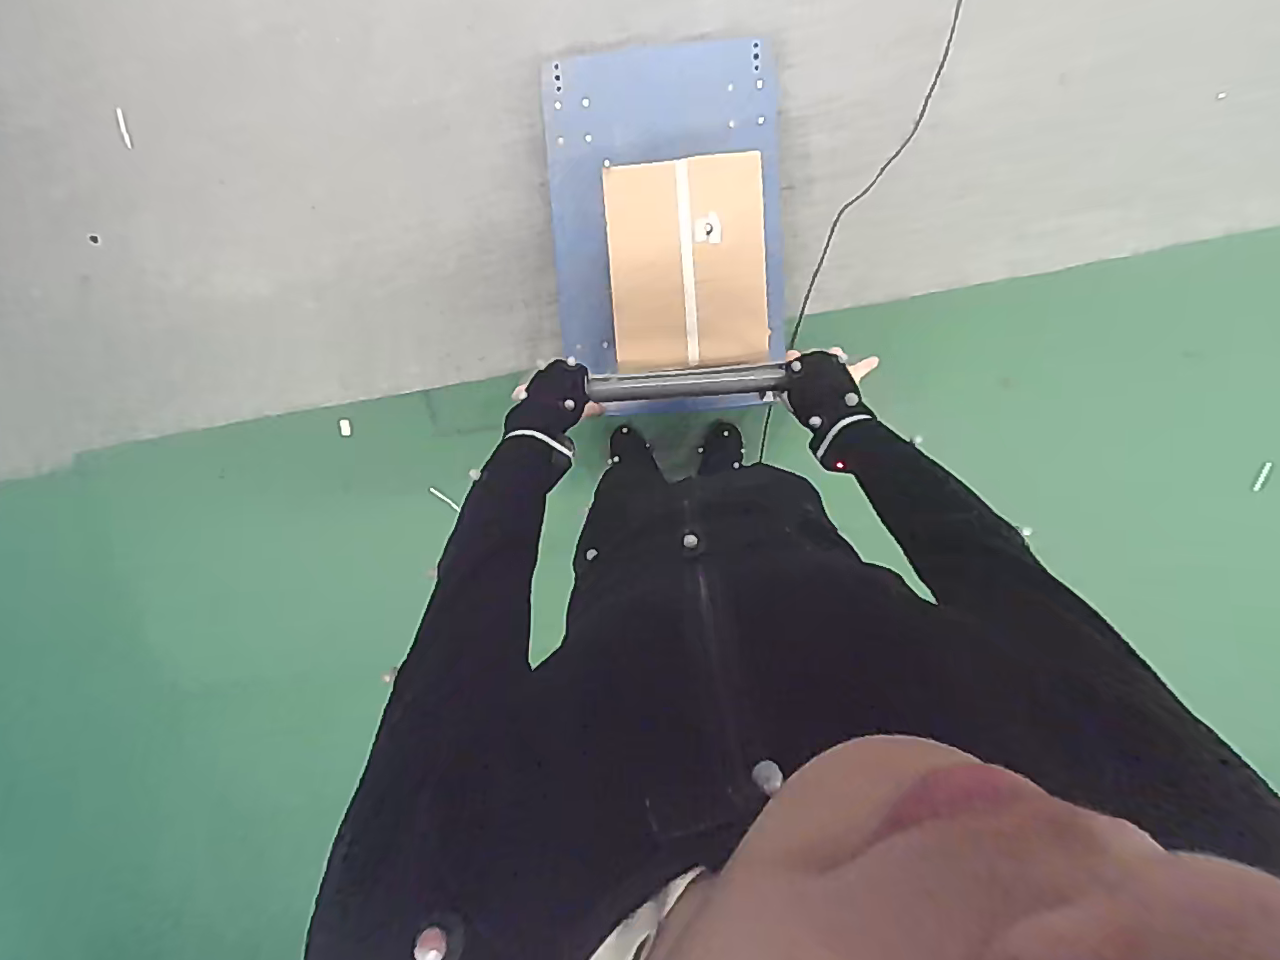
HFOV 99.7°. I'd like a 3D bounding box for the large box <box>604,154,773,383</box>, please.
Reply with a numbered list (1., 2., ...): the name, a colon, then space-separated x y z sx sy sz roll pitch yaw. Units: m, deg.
1. large box: 0.107 -0.441 1.222 0.320 0.320 0.408 -4 97 3
